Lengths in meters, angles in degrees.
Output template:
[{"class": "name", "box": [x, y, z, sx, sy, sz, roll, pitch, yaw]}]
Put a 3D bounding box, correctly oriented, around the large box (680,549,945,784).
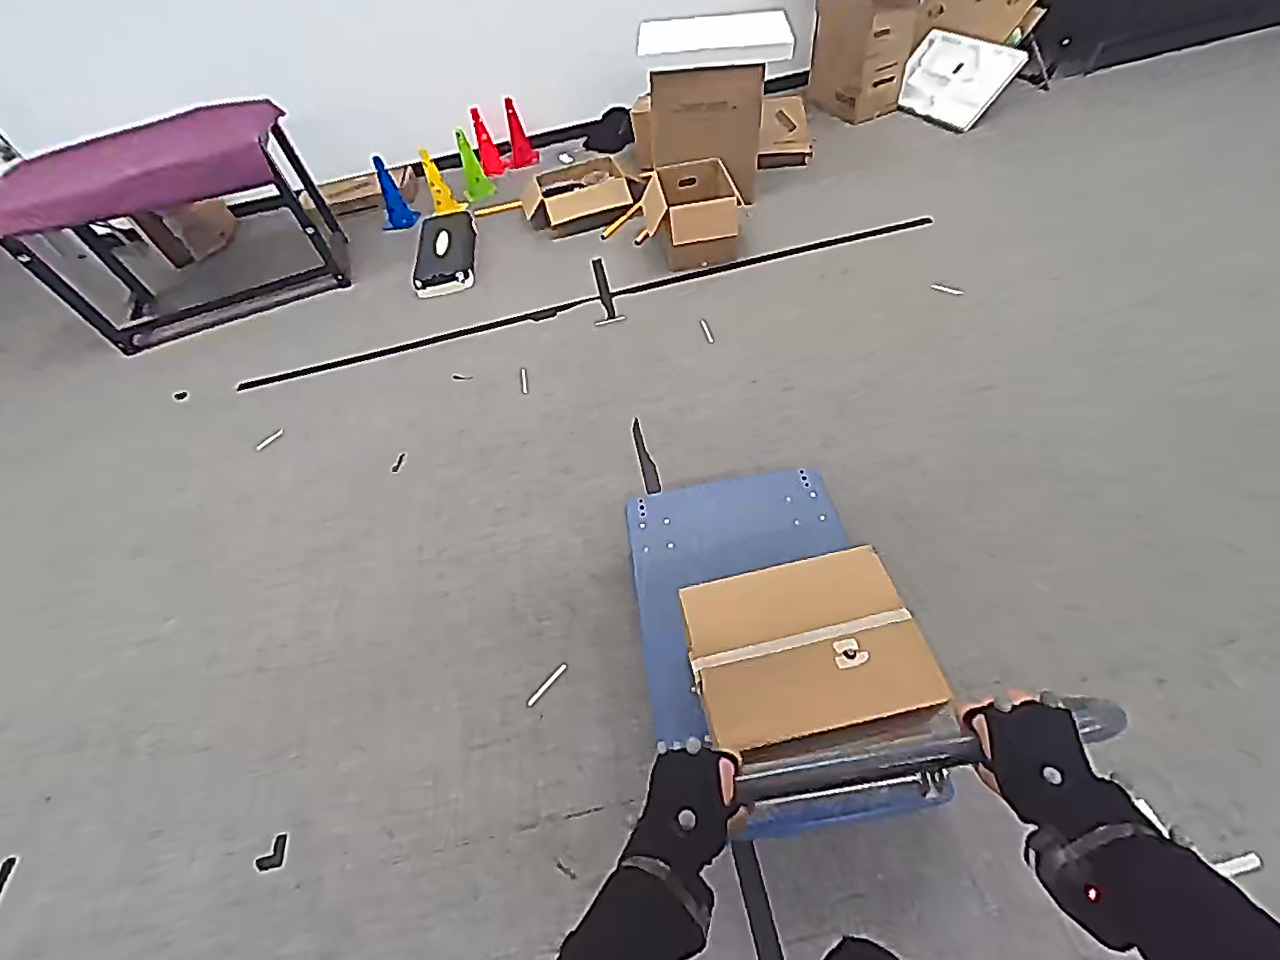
[{"class": "large box", "box": [0.320, 0.393, 1.124, 0.408, 0.320, 0.320, -13, 52, -2]}]
